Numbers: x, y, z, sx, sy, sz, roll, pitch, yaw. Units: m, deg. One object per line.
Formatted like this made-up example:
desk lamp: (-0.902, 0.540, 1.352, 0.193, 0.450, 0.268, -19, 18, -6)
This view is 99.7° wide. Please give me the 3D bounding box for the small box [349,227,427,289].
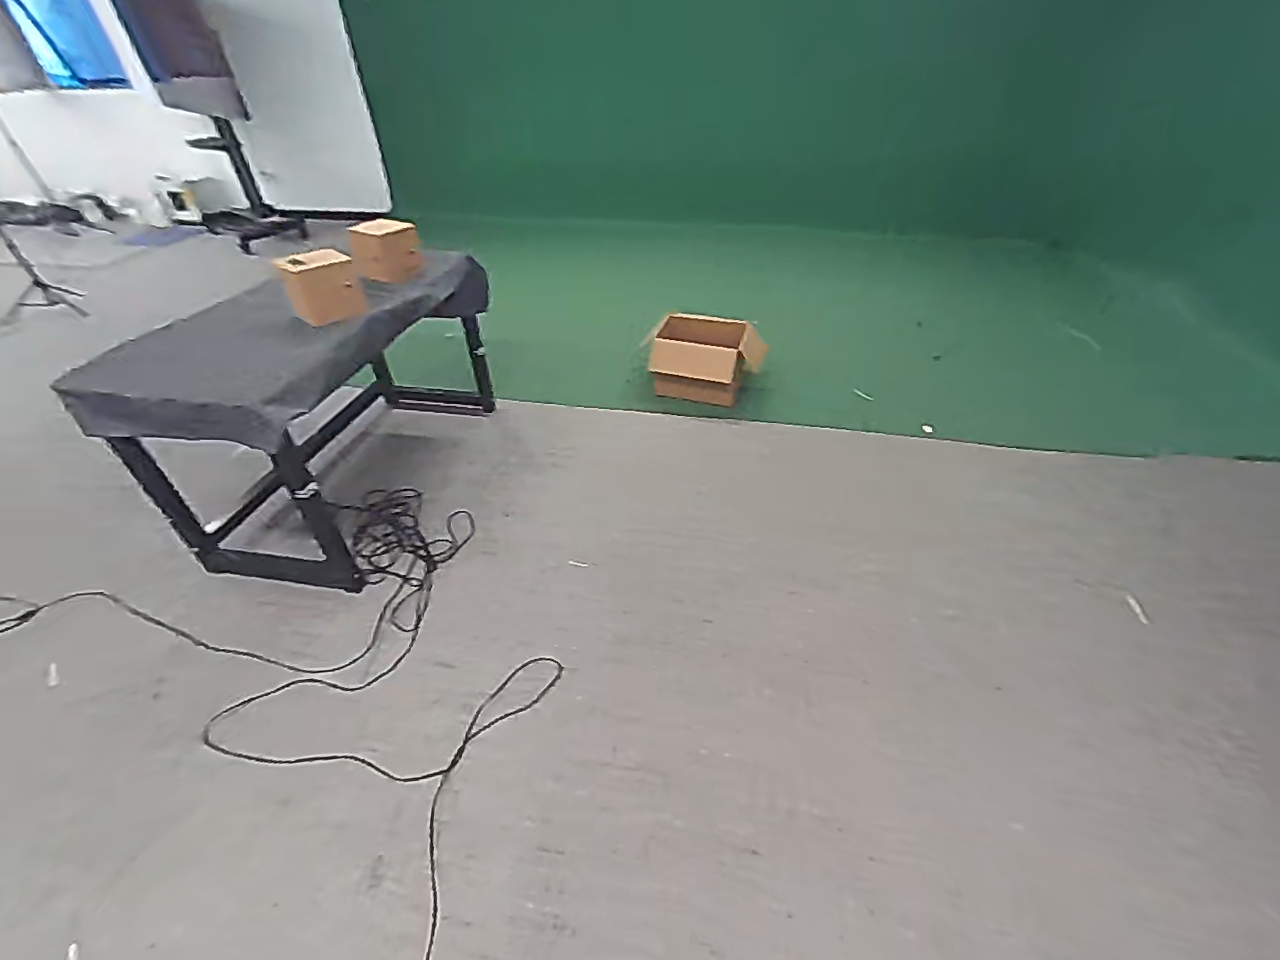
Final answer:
small box: (-0.917, -0.815, 1.986, 0.179, 0.176, 0.168, 17, 41, 24)
